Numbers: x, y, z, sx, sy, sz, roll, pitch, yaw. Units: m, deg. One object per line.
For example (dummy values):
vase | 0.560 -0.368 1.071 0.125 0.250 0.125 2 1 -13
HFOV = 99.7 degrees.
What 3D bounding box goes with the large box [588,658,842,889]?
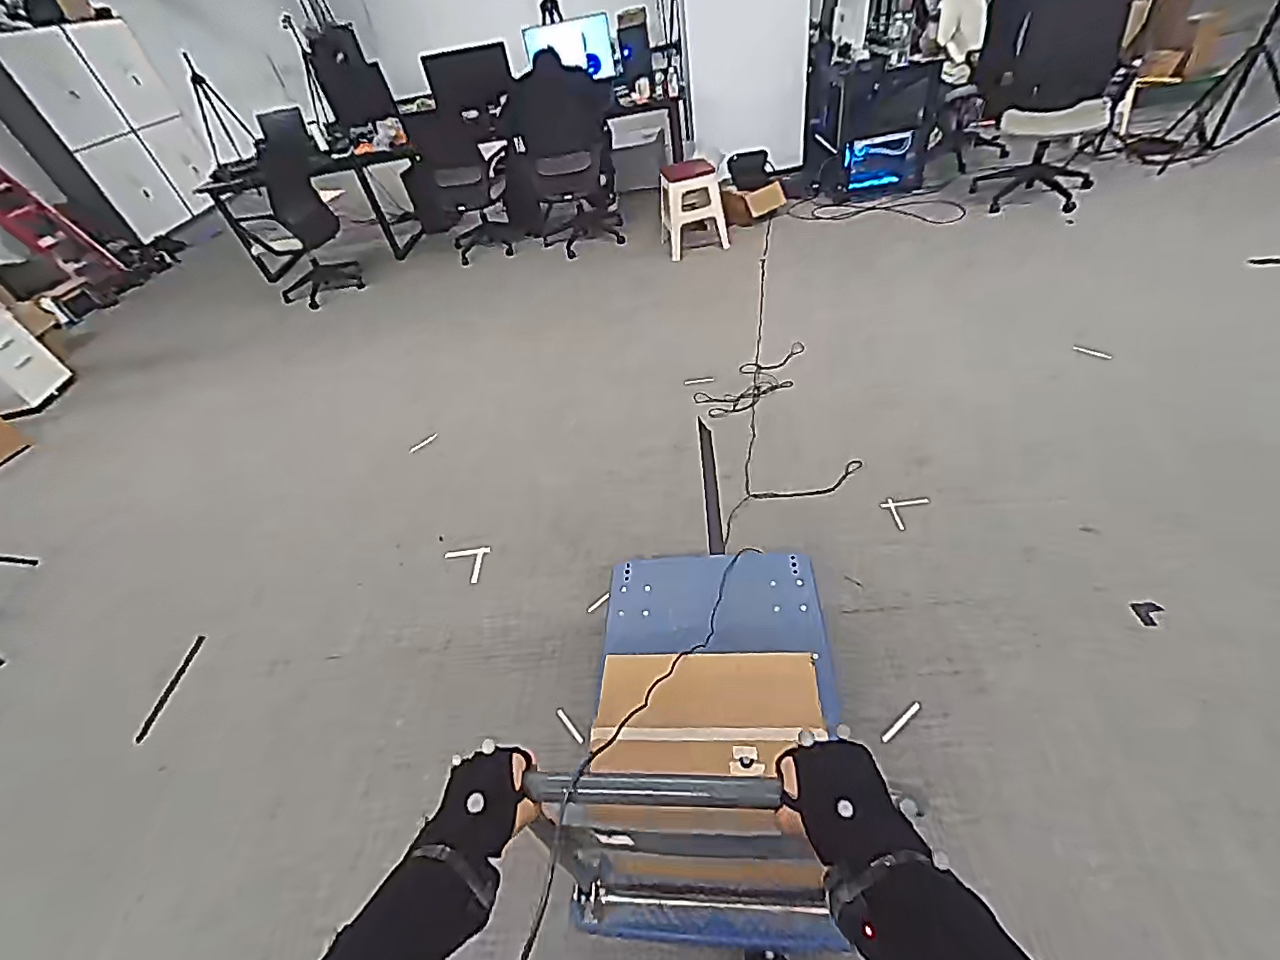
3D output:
large box | 0.138 0.564 1.044 0.408 0.320 0.320 -3 44 9
